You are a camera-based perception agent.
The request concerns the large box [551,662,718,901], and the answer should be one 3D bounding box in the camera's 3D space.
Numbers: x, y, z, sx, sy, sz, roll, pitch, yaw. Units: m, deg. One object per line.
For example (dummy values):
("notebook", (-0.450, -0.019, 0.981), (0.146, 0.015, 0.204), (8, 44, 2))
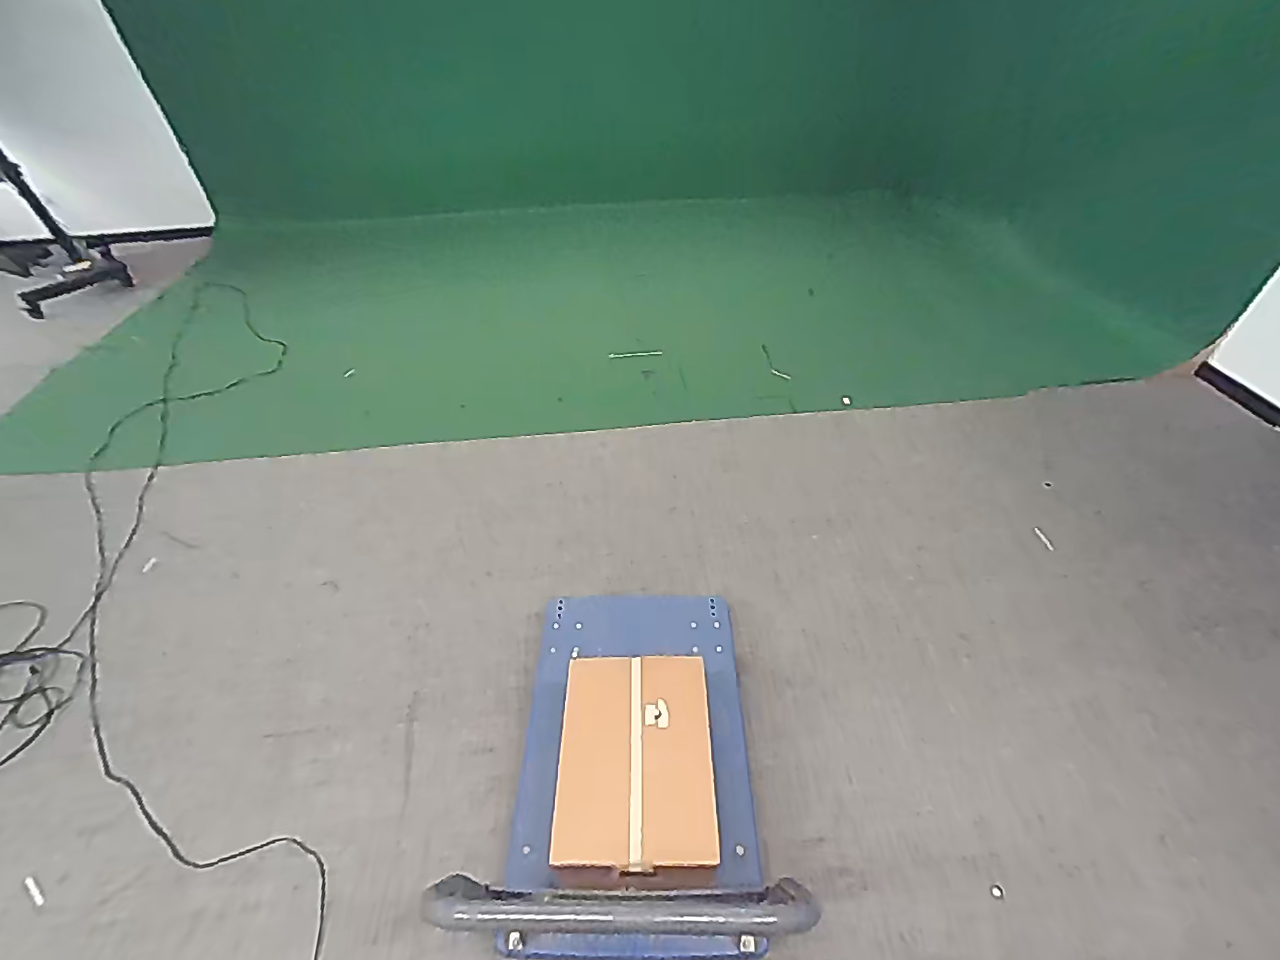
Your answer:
("large box", (-0.007, 0.675, 1.226), (0.320, 0.320, 0.408), (-1, 43, 1))
